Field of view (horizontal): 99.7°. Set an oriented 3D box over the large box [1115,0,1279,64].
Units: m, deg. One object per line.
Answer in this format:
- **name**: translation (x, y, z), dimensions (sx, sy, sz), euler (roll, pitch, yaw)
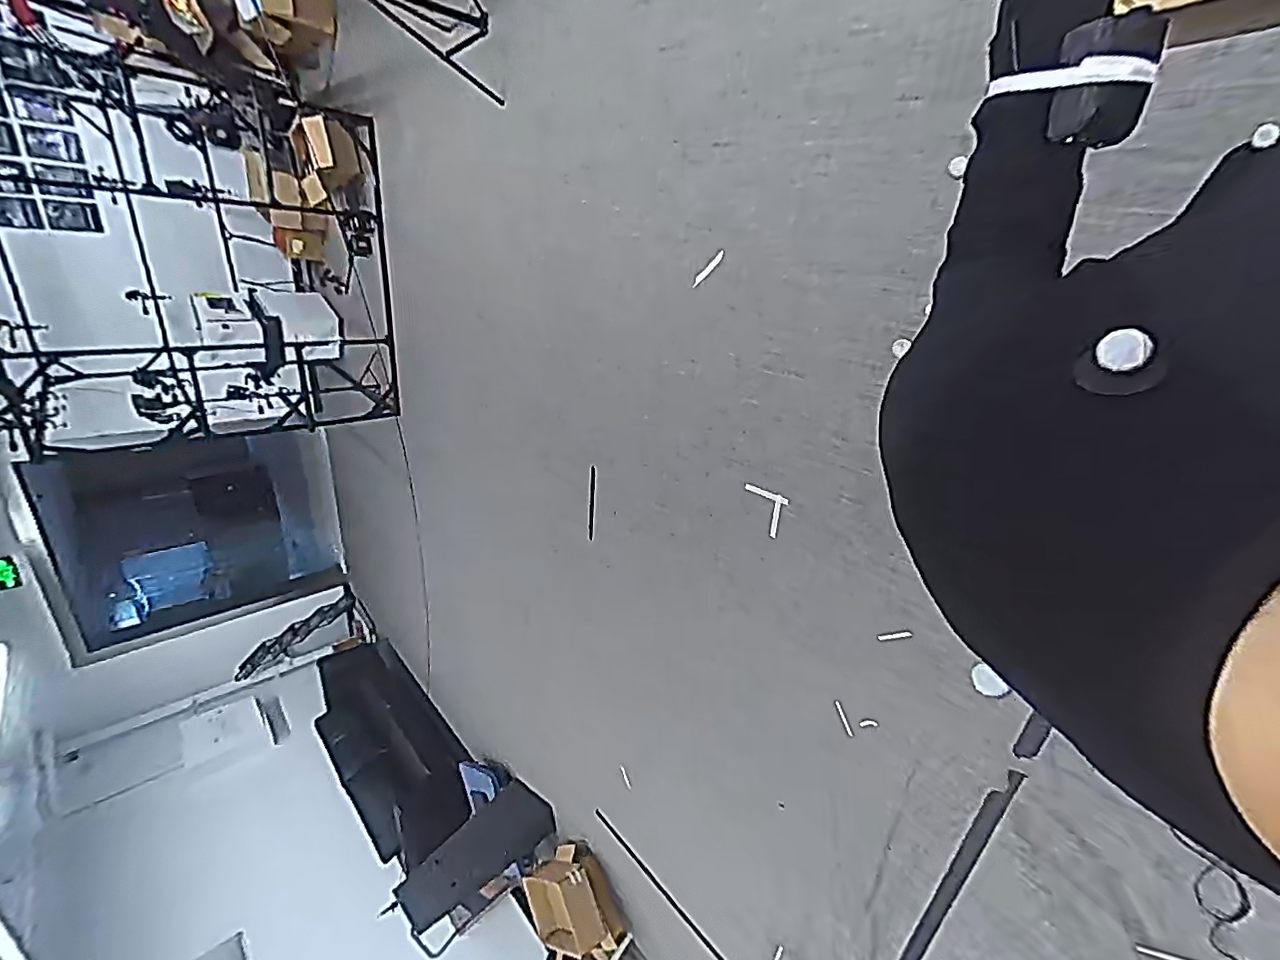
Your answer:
- **large box**: translation (0.522, -0.436, 0.242), dimensions (0.408, 0.320, 0.320), euler (17, 127, 41)
